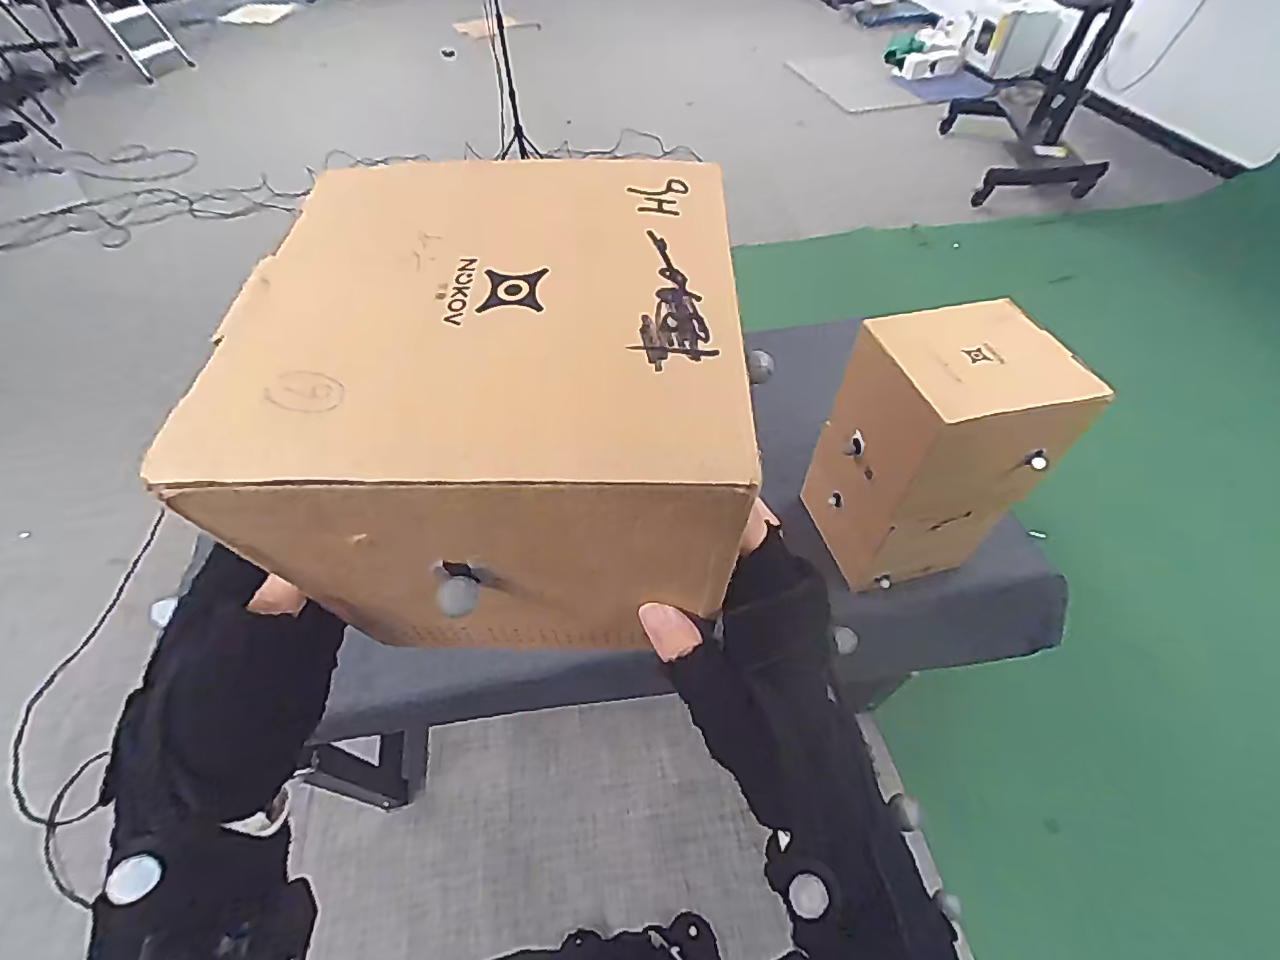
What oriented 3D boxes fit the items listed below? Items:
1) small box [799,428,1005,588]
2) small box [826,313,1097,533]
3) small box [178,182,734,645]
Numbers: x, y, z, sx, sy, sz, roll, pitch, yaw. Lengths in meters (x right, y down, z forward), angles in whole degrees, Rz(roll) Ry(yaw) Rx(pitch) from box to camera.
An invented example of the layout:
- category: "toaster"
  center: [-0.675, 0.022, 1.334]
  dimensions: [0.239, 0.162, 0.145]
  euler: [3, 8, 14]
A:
- category: "small box"
  center: [0.342, 0.033, 0.748]
  dimensions: [0.168, 0.176, 0.179]
  euler: [-12, 51, -8]
- category: "small box"
  center: [0.340, -0.062, 0.617]
  dimensions: [0.179, 0.176, 0.168]
  euler: [-11, 50, -6]
- category: "small box"
  center: [-0.053, -0.021, 0.272]
  dimensions: [0.179, 0.176, 0.168]
  euler: [0, 57, 2]
